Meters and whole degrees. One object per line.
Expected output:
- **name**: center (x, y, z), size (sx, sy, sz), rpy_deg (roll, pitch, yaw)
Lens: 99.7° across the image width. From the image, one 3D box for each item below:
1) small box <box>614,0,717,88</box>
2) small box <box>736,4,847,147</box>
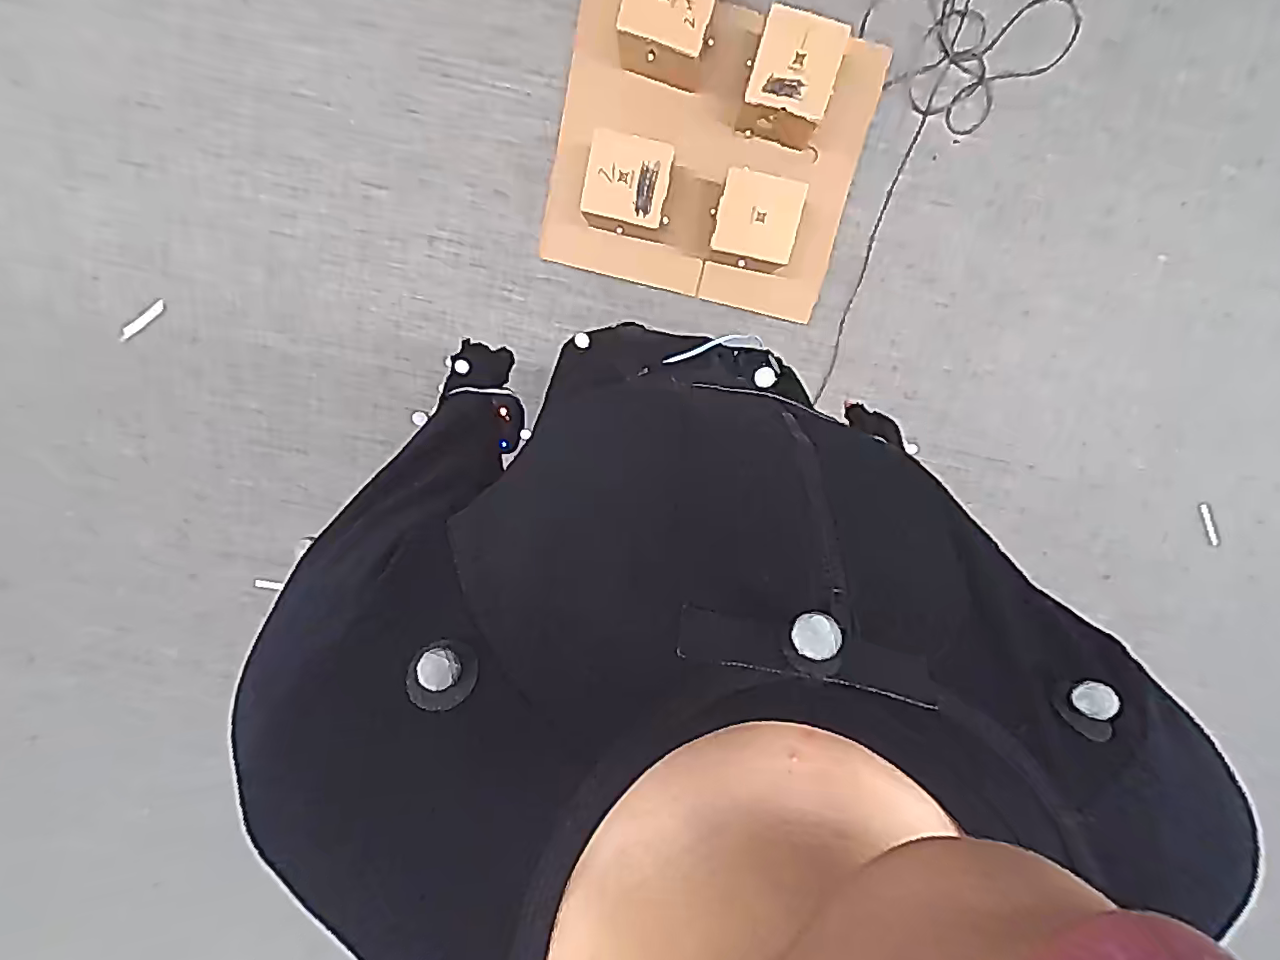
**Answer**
- **small box**: center (0.056, -0.962, 1.128), size (0.179, 0.176, 0.168), rpy_deg (18, 106, -4)
- **small box**: center (0.311, -0.850, 1.157), size (0.168, 0.176, 0.179), rpy_deg (16, 104, -2)
